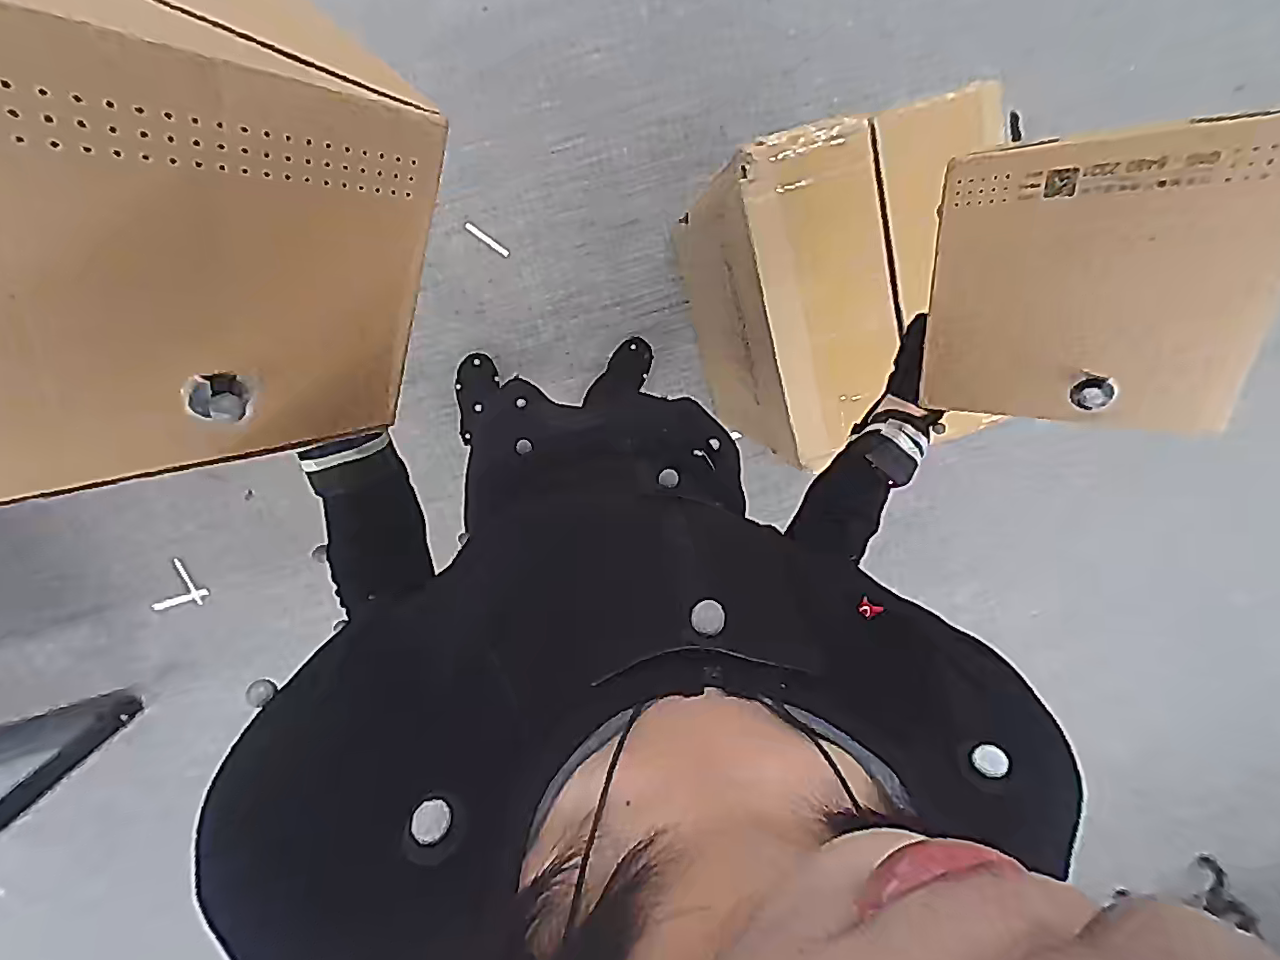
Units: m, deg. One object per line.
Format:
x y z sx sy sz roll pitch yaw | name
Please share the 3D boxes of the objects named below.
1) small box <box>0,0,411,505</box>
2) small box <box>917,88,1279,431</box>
-0.219 -0.119 0.224 0.168 0.179 0.176 45 129 21 | small box
0.308 -0.154 0.372 0.168 0.179 0.176 13 126 36 | small box
